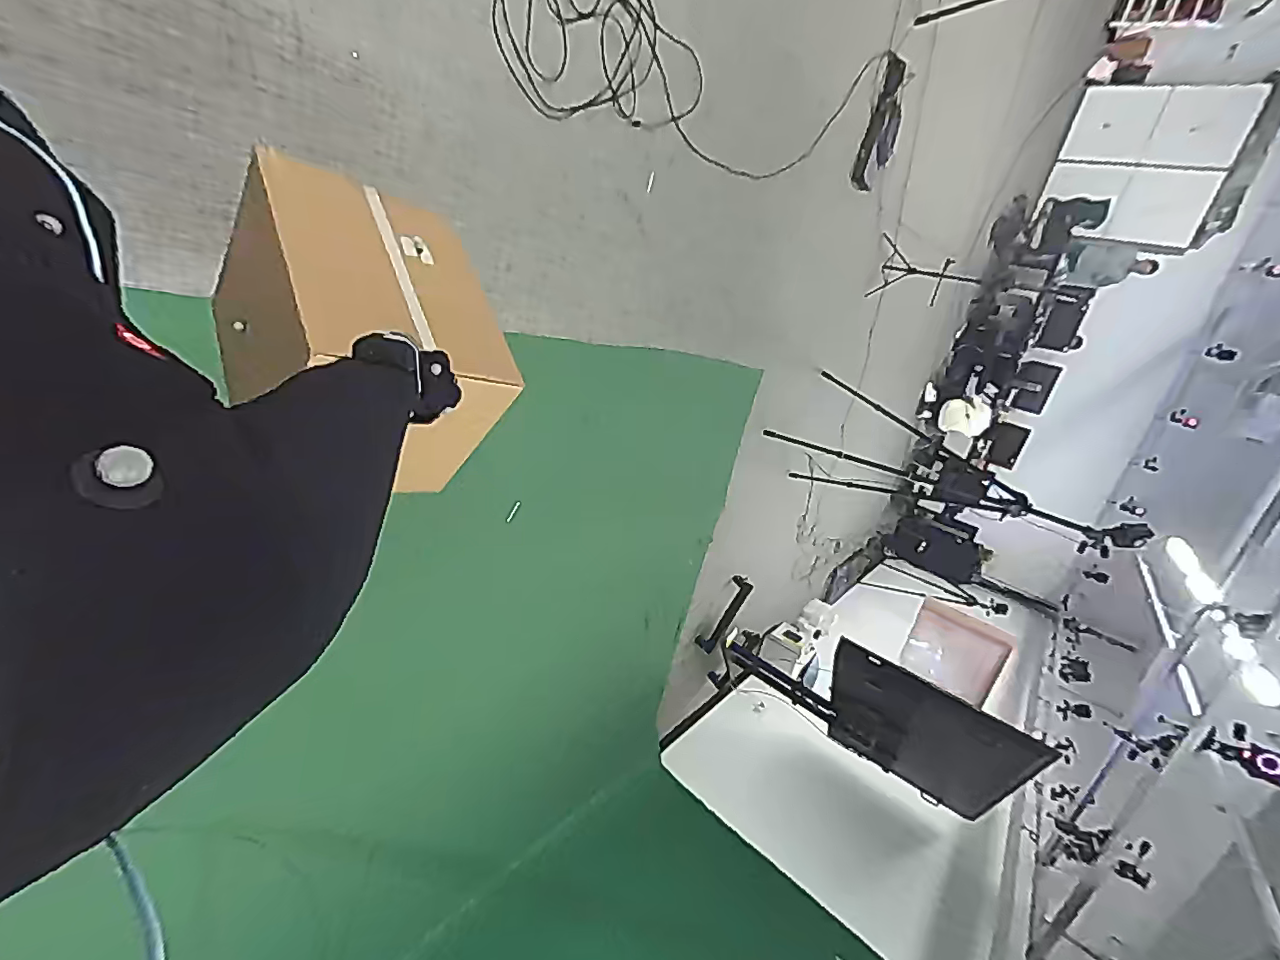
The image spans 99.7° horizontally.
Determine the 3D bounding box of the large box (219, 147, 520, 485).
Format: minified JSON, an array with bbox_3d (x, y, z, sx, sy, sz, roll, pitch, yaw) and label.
[{"bbox_3d":[-0.468,-0.239,0.912,0.320,0.408,0.320,-40,155,33],"label":"large box"}]
